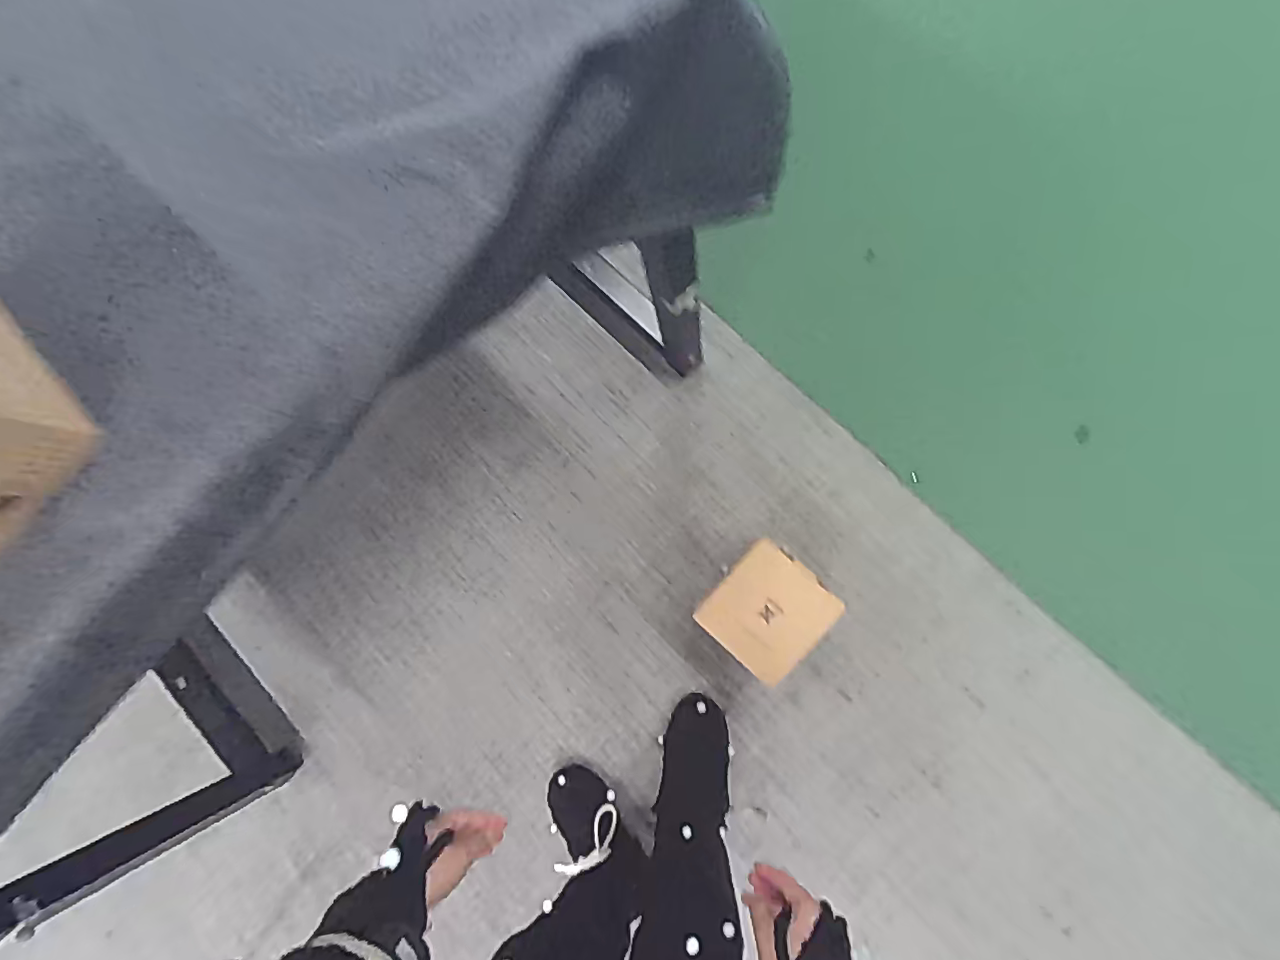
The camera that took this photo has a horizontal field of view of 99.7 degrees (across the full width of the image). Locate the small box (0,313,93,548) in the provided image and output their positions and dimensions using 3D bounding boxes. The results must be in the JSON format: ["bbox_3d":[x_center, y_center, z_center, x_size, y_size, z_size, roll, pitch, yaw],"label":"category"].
[{"bbox_3d":[-0.472,-0.037,0.285,0.179,0.176,0.168,43,90,10],"label":"small box"}]

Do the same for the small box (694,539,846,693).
[{"bbox_3d":[0.207,0.217,0.909,0.168,0.176,0.179,41,90,11],"label":"small box"}]
